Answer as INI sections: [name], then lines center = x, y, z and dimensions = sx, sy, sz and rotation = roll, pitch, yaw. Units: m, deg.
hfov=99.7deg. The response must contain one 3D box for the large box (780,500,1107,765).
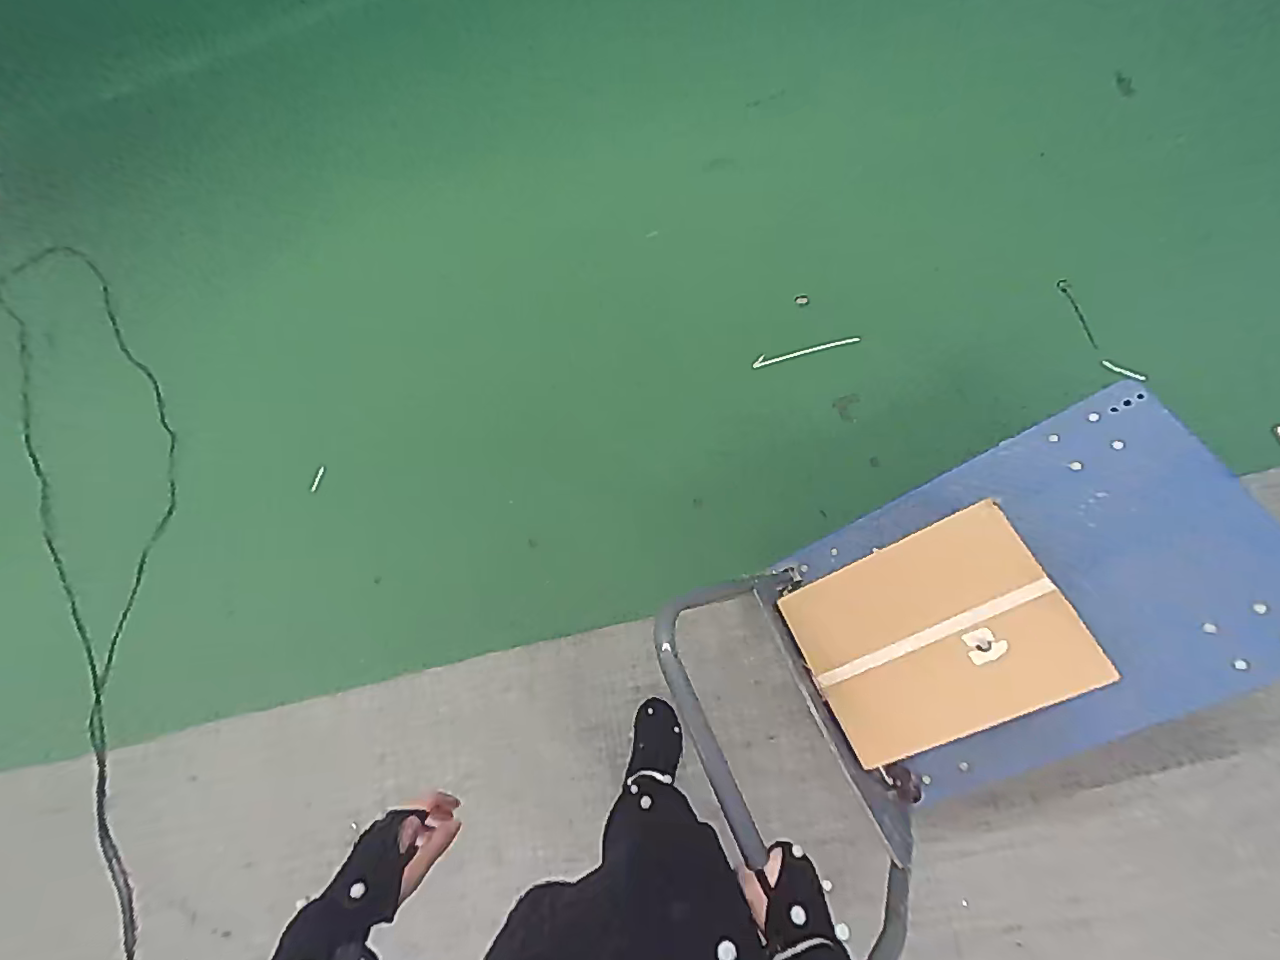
[large box]
center = 0.542, 0.289, 1.048
dimensions = 0.408, 0.320, 0.320
rotation = -31, 69, 16
